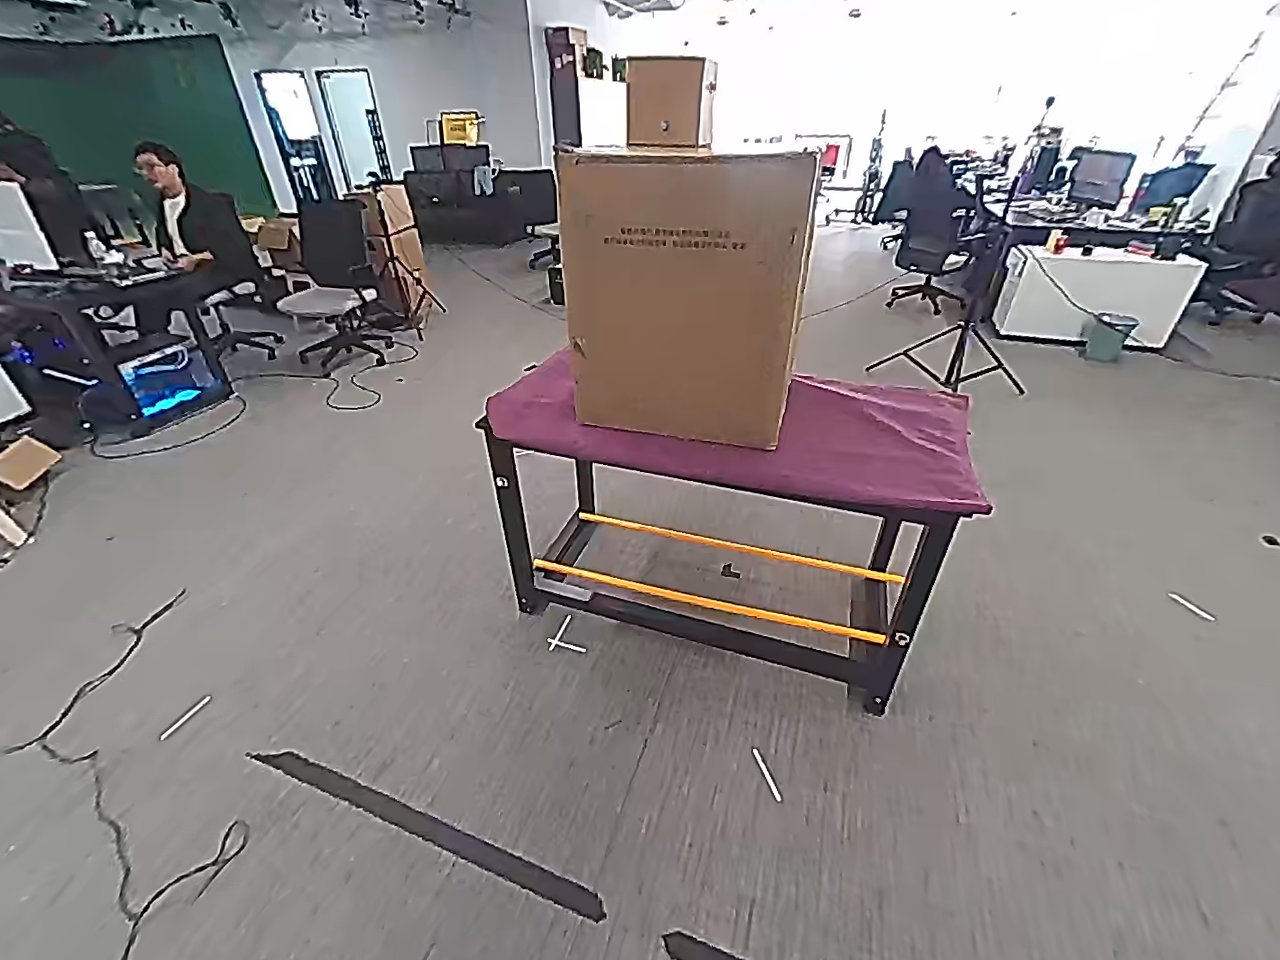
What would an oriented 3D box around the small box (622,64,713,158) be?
[{"bbox_3d":[0.066,-0.854,1.260,0.179,0.176,0.168,10,35,15],"label":"small box"}]
